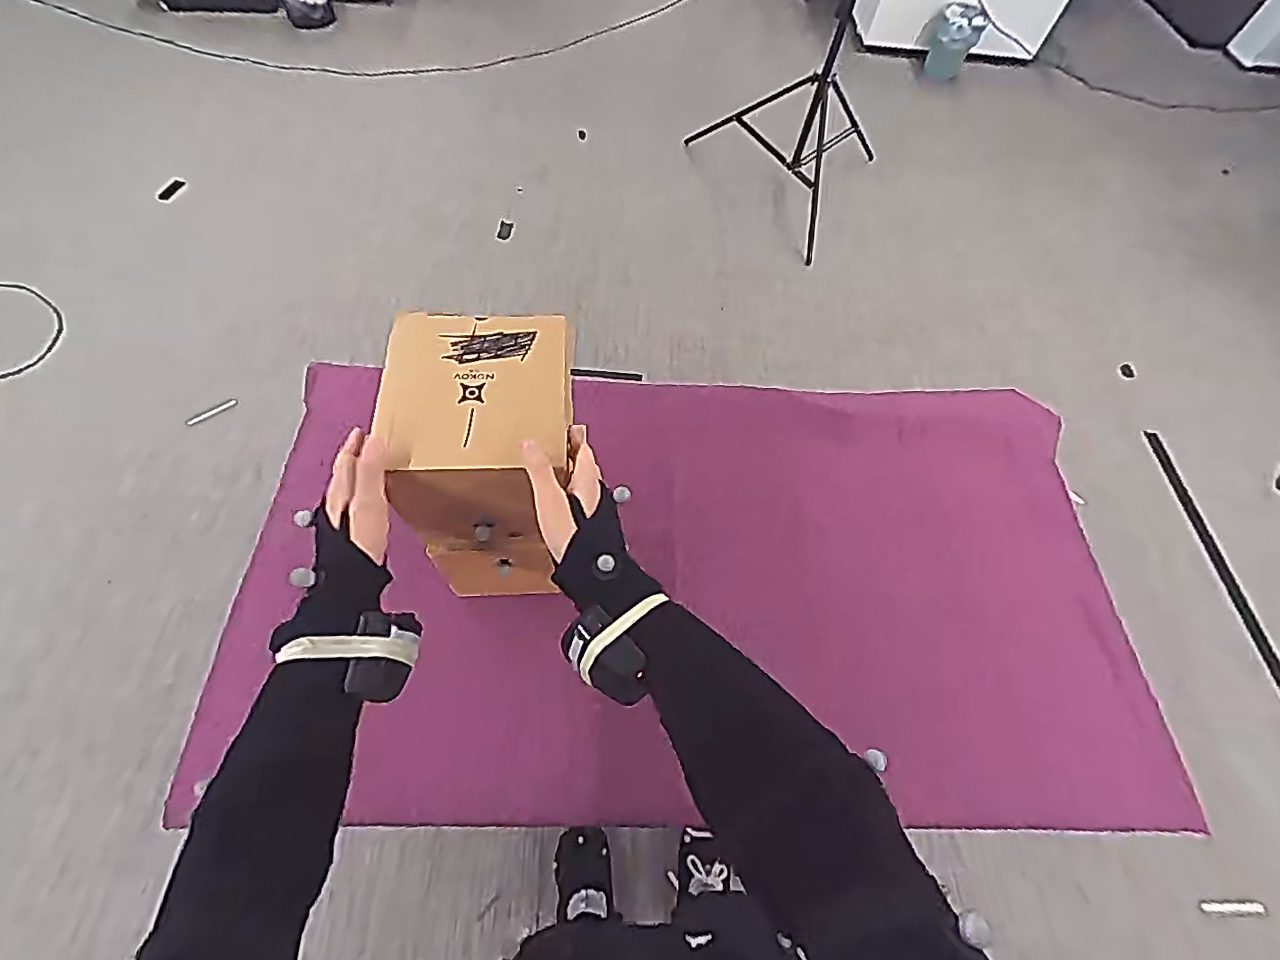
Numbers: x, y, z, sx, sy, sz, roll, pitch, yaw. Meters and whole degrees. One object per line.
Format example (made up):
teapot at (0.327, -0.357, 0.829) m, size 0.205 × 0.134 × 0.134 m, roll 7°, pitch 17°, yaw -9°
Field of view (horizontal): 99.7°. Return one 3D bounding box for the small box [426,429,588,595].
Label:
small box at (-0.157, 0.046, 0.701) m, size 0.179 × 0.176 × 0.168 m, roll -1°, pitch 62°, yaw -5°

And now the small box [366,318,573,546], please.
small box at (-0.156, -0.044, 0.561) m, size 0.168 × 0.176 × 0.179 m, roll -1°, pitch 63°, yaw -5°
